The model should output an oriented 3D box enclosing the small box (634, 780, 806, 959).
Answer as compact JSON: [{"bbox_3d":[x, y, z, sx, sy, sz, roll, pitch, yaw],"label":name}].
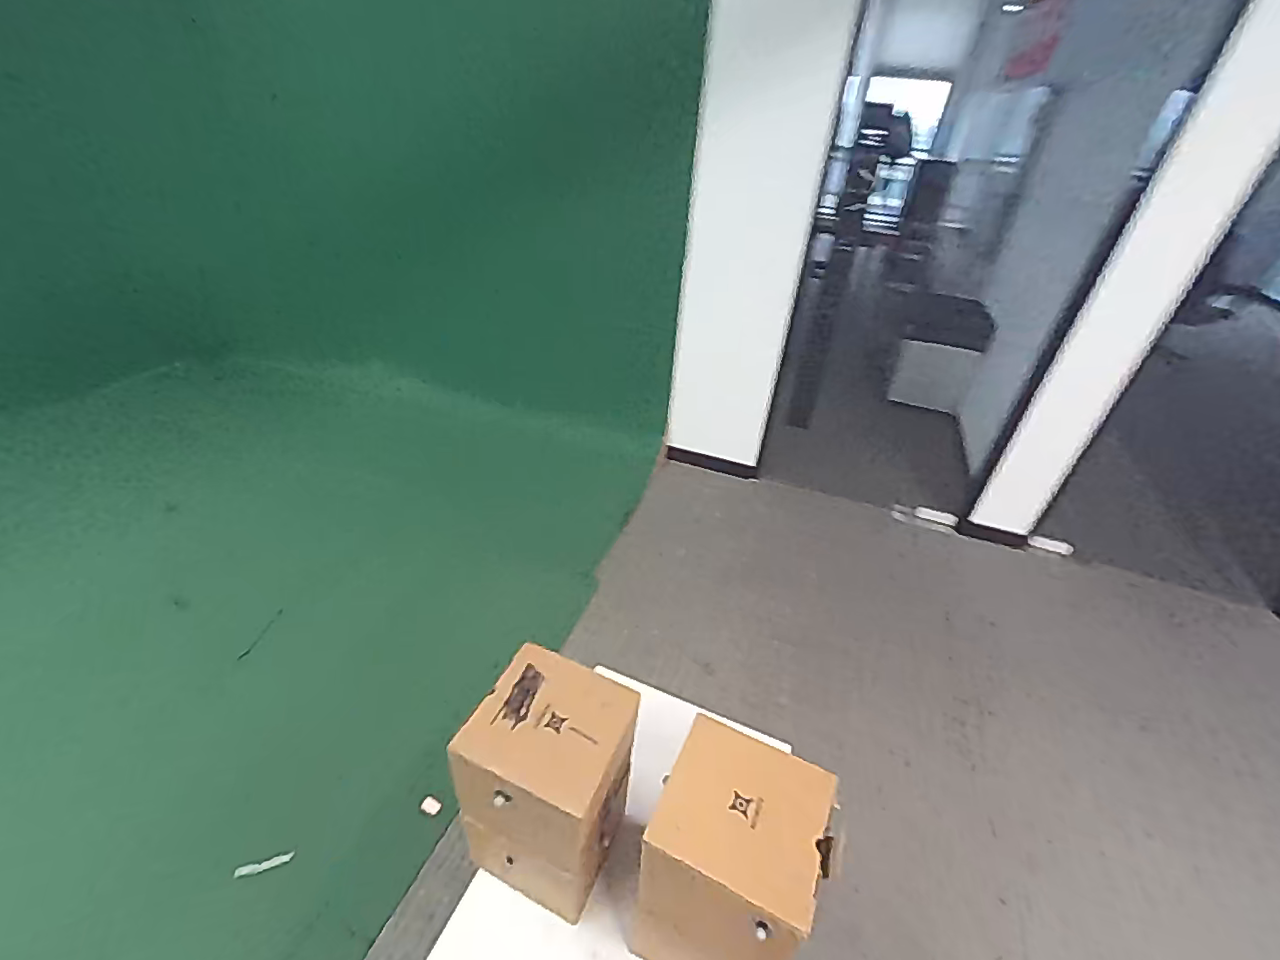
[{"bbox_3d":[0.103,0.553,0.724,0.179,0.176,0.168,16,37,18],"label":"small box"}]

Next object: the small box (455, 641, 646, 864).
[{"bbox_3d":[-0.110,0.349,0.696,0.179,0.176,0.168,19,38,15],"label":"small box"}]

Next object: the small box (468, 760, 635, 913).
[{"bbox_3d":[-0.124,0.485,0.790,0.179,0.176,0.168,19,39,16],"label":"small box"}]
